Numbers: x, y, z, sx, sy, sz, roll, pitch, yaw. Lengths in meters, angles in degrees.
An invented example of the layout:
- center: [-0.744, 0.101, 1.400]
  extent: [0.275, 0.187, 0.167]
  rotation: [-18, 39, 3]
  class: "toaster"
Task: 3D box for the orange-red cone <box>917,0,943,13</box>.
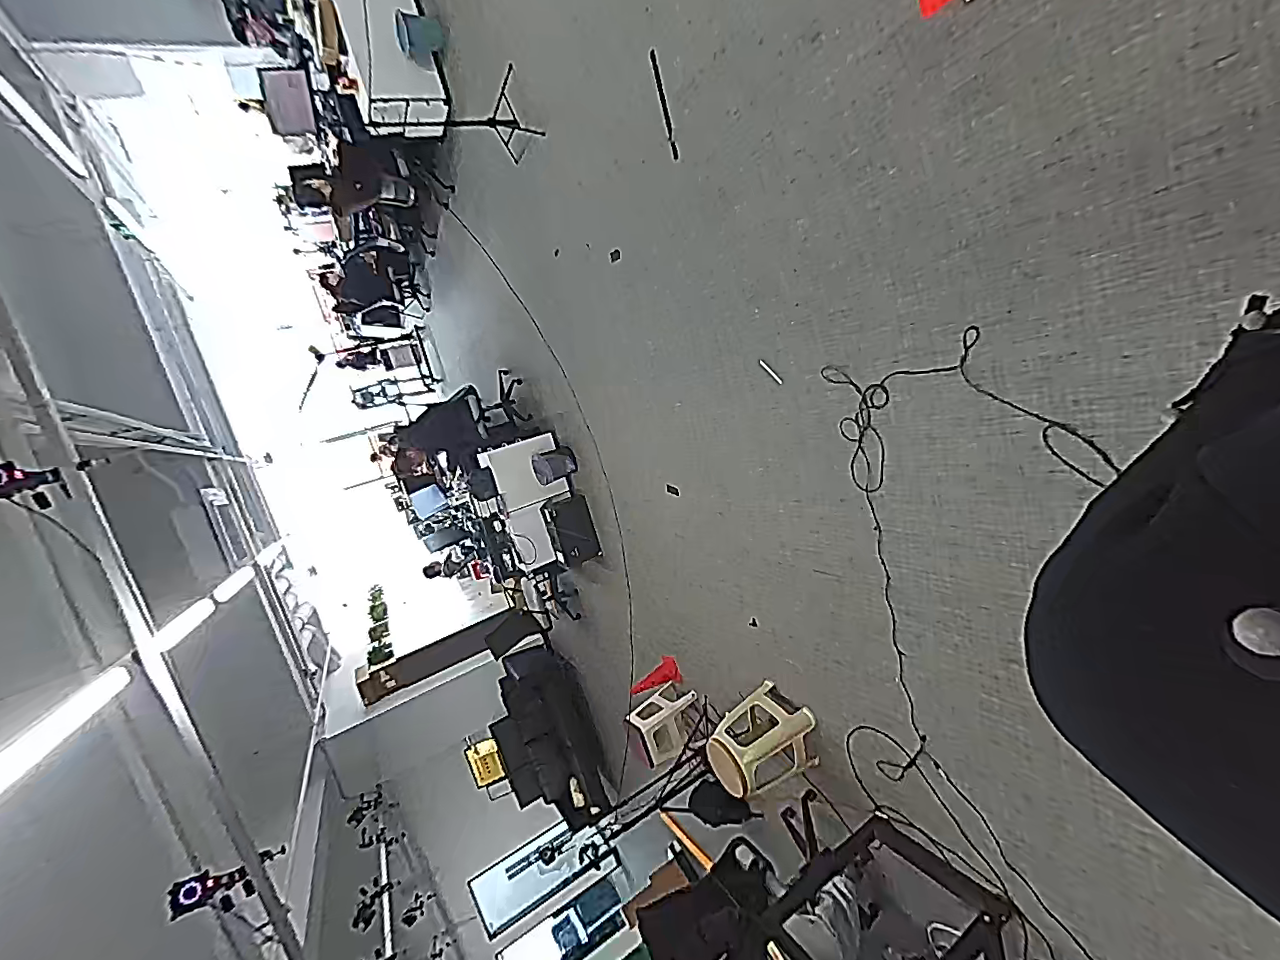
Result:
- center: [0.540, -1.131, 1.103]
  extent: [0.198, 0.360, 0.199]
  rotation: [1, 108, 62]
  class: "orange-red cone"
